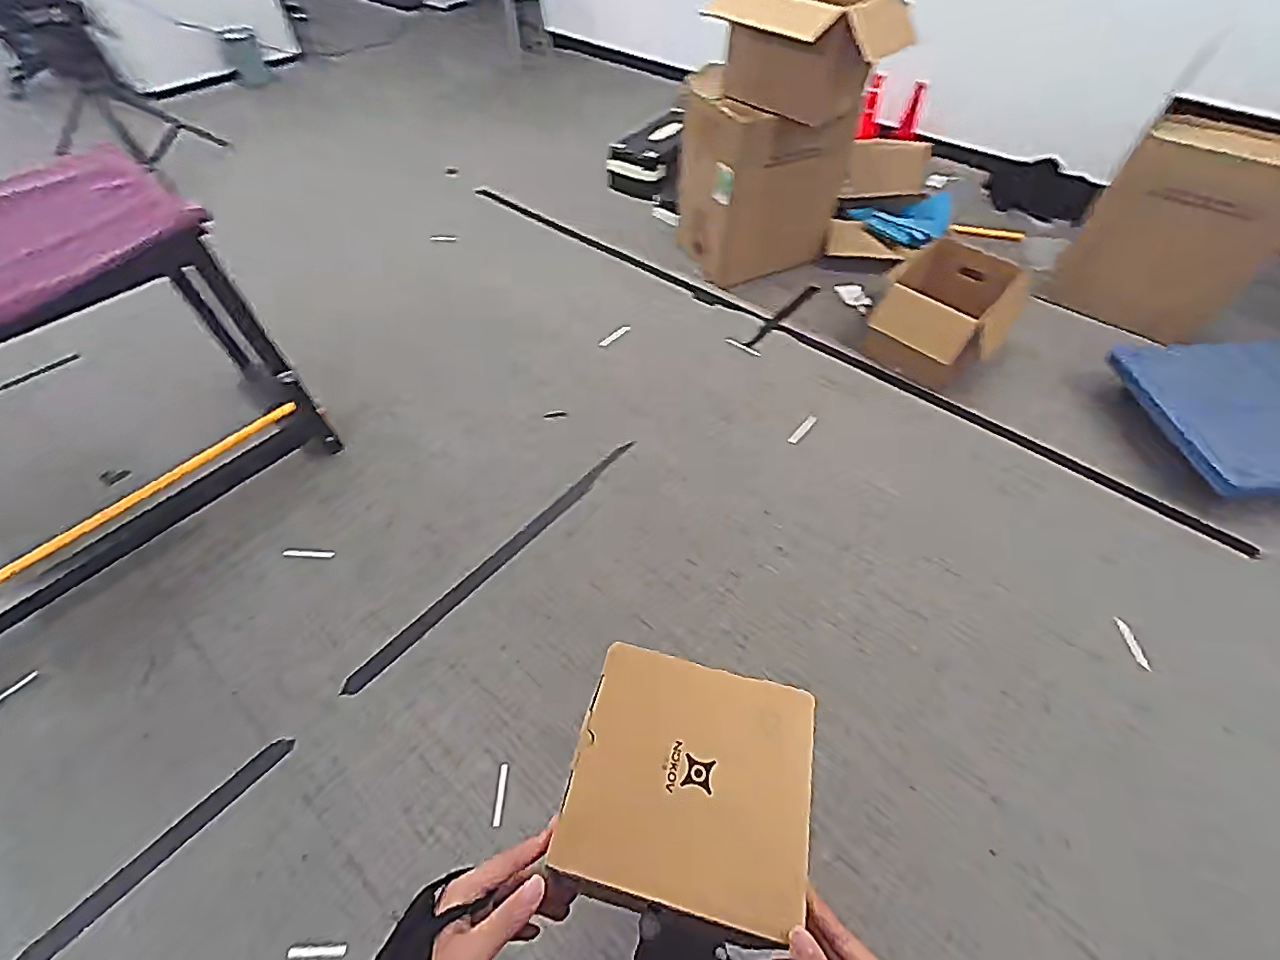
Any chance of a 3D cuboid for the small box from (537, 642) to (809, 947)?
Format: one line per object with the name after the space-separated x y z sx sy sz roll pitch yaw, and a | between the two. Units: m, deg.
0.031 0.264 0.459 0.179 0.176 0.168 11 50 7 | small box
